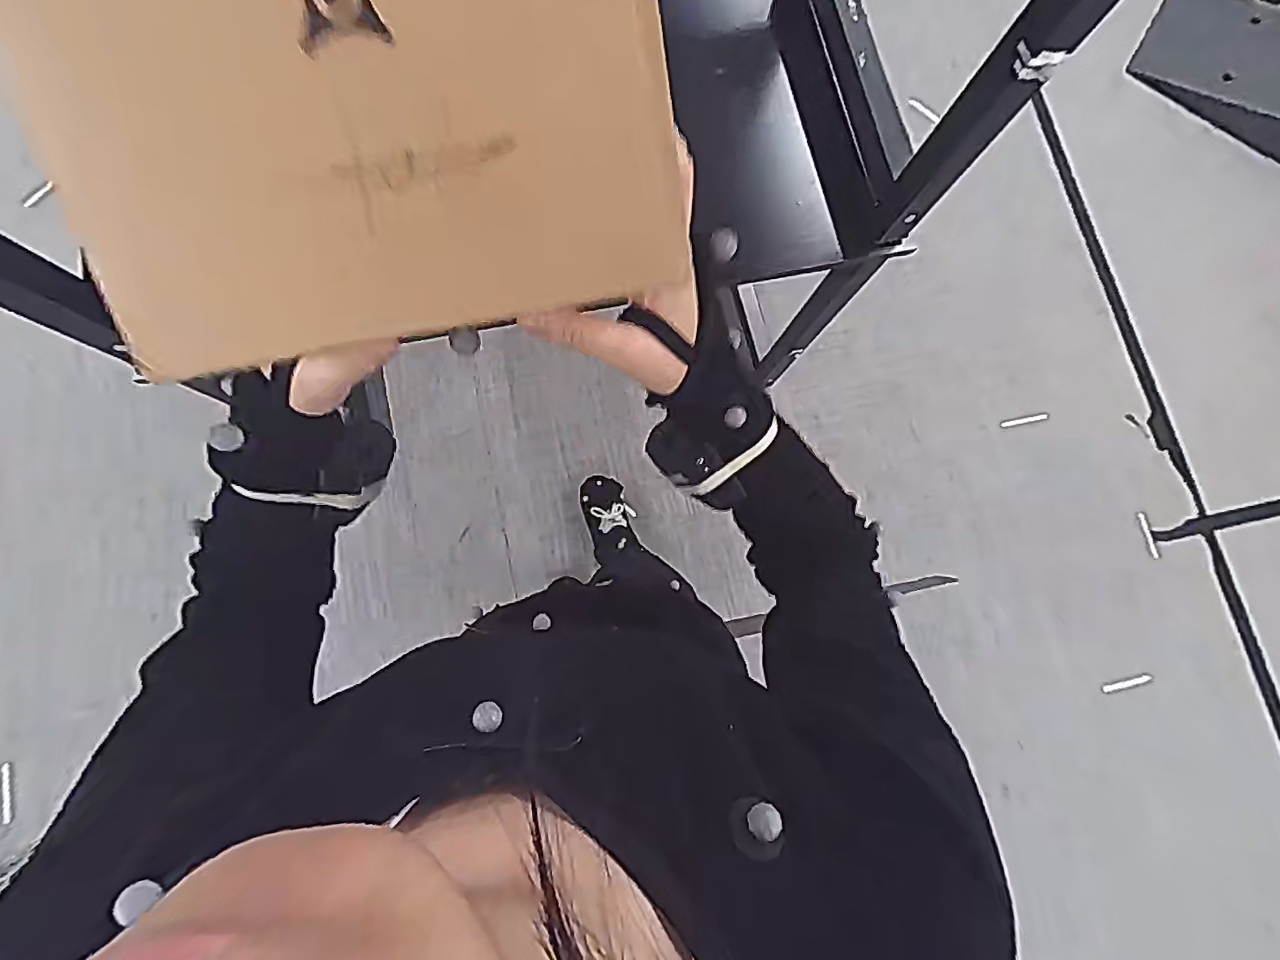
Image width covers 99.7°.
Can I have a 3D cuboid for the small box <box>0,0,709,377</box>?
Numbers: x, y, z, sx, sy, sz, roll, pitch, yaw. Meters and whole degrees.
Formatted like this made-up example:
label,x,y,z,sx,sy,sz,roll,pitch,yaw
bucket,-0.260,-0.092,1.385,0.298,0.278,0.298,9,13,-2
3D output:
label,x,y,z,sx,sy,sz,roll,pitch,yaw
small box,-0.084,-0.150,0.205,0.168,0.176,0.179,-13,111,-3
